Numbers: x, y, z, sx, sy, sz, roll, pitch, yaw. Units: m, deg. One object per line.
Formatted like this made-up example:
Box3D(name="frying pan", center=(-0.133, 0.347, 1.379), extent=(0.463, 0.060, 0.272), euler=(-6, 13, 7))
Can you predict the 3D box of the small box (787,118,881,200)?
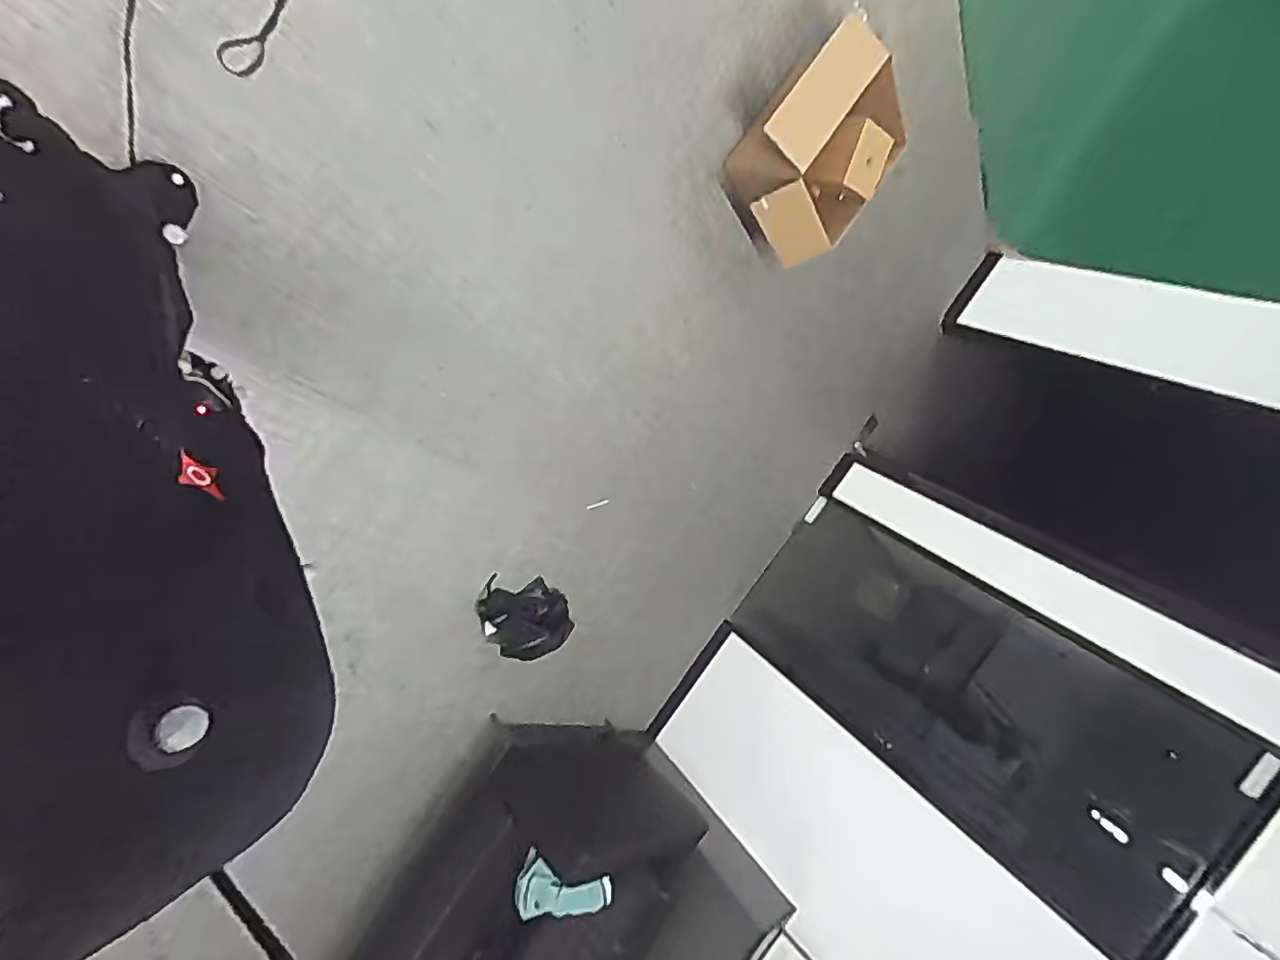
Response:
Box3D(name="small box", center=(0.575, -0.960, 1.613), extent=(0.179, 0.176, 0.168), euler=(-5, 121, -43))
